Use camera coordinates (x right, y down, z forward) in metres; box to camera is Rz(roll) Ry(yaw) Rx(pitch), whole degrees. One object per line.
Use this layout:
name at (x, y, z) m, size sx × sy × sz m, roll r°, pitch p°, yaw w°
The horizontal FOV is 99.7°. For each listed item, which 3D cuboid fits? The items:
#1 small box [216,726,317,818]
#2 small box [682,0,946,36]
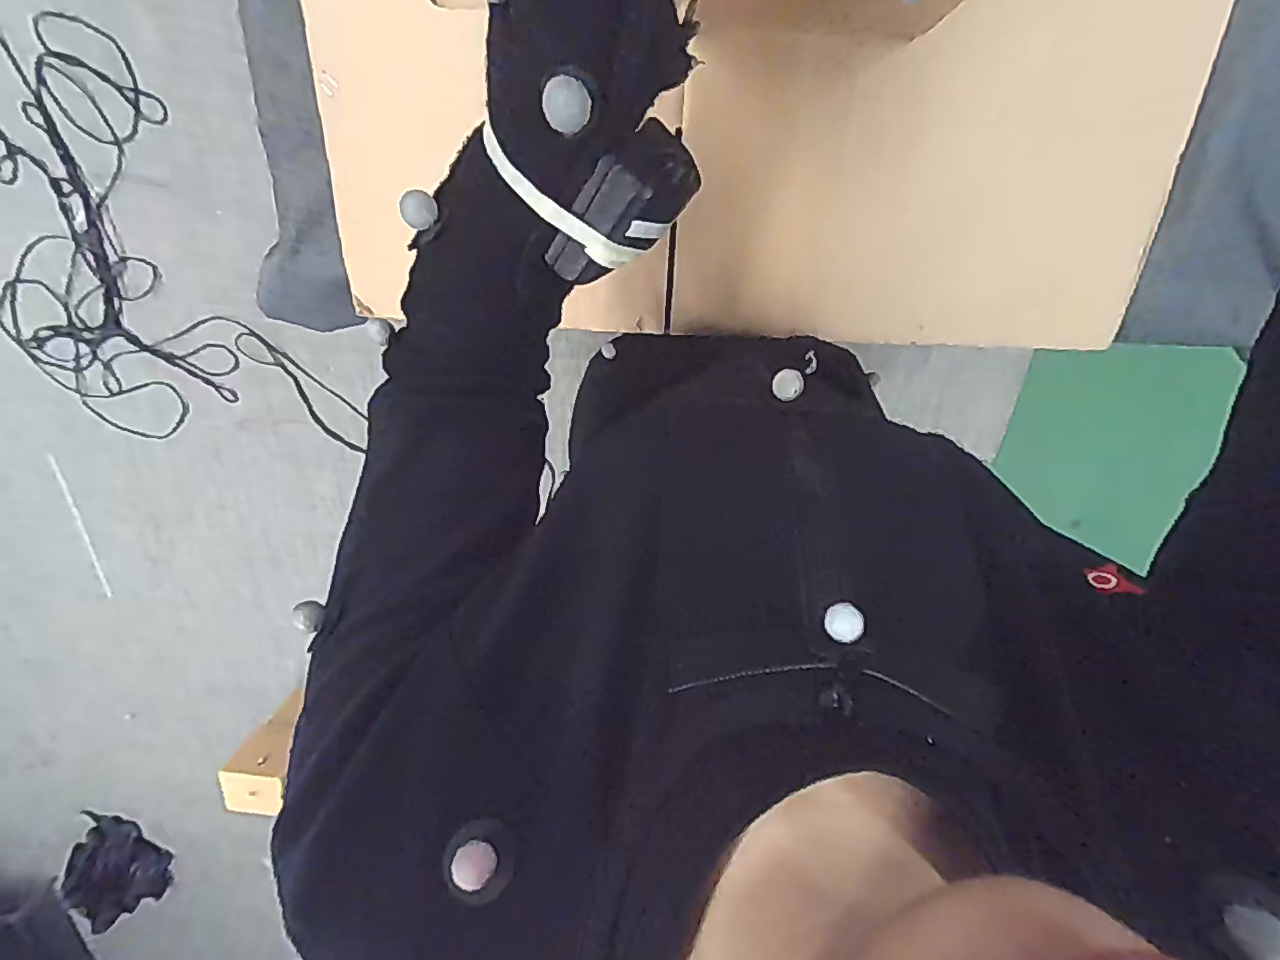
small box at (-1.093, 0.856, 1.595) m, size 0.179 × 0.176 × 0.168 m, roll 8°, pitch 113°, yaw -1°
small box at (0.116, -0.365, 0.281) m, size 0.179 × 0.176 × 0.168 m, roll 2°, pitch 111°, yaw 2°
